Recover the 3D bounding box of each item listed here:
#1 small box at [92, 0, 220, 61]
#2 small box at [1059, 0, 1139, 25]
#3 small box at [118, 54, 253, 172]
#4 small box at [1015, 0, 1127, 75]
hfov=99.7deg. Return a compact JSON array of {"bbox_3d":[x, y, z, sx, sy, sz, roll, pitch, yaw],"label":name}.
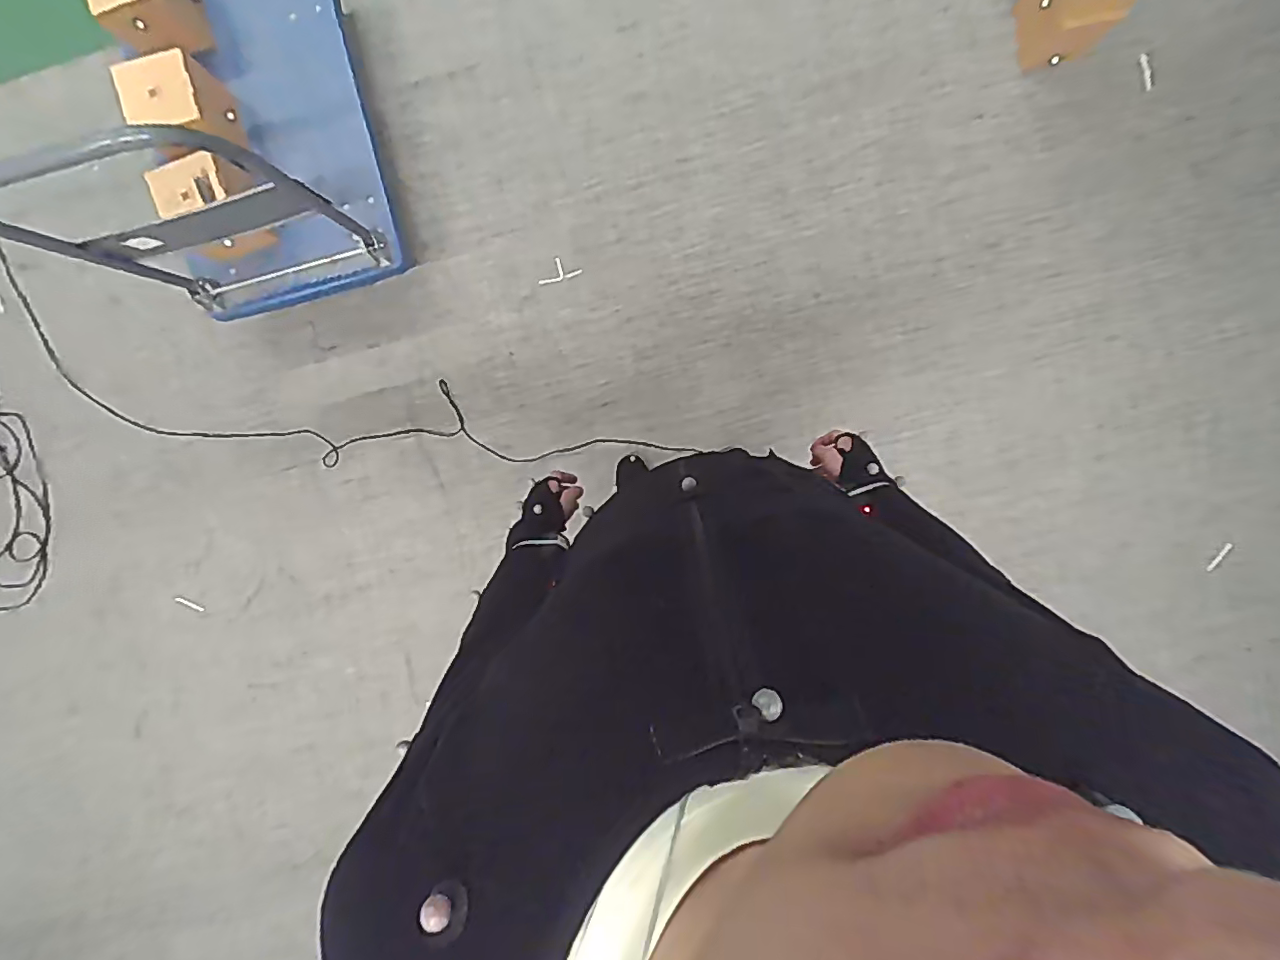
[{"bbox_3d":[-1.203,-1.178,1.337,0.179,0.176,0.168,-15,95,2],"label":"small box"},{"bbox_3d":[1.131,-1.235,1.284,0.179,0.176,0.168,-10,93,4],"label":"small box"},{"bbox_3d":[-1.130,-0.908,1.357,0.179,0.176,0.168,-14,93,1],"label":"small box"},{"bbox_3d":[1.142,-1.241,1.447,0.168,0.176,0.179,-9,93,3],"label":"small box"}]
